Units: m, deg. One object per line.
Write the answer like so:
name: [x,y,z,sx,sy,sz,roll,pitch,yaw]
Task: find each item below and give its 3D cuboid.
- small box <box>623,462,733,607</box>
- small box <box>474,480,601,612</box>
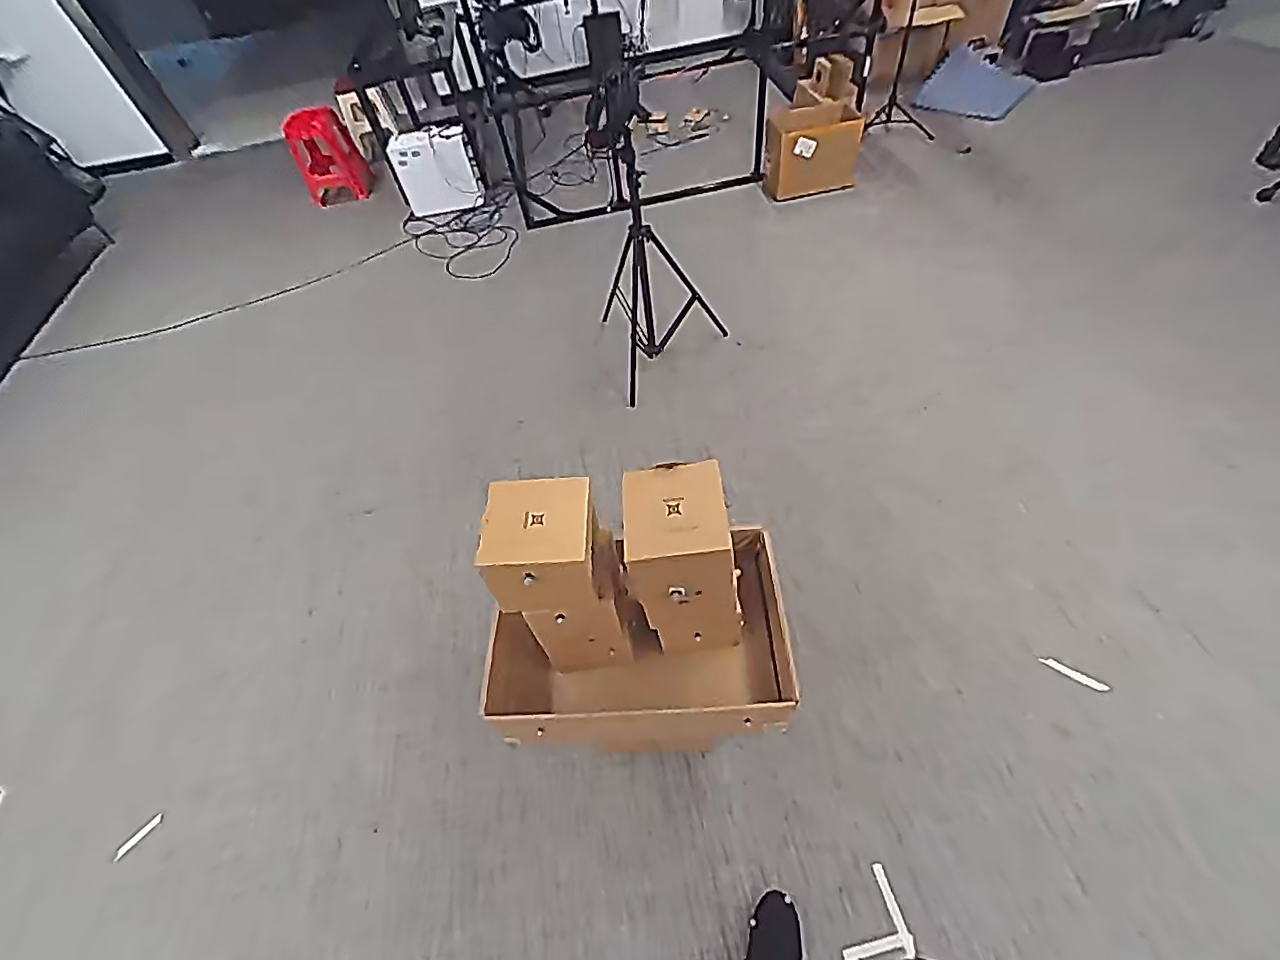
small box: [0.065,0.095,0.918,0.168,0.176,0.179,-8,52,5]
small box: [-0.164,0.118,0.936,0.179,0.176,0.168,-4,52,3]
